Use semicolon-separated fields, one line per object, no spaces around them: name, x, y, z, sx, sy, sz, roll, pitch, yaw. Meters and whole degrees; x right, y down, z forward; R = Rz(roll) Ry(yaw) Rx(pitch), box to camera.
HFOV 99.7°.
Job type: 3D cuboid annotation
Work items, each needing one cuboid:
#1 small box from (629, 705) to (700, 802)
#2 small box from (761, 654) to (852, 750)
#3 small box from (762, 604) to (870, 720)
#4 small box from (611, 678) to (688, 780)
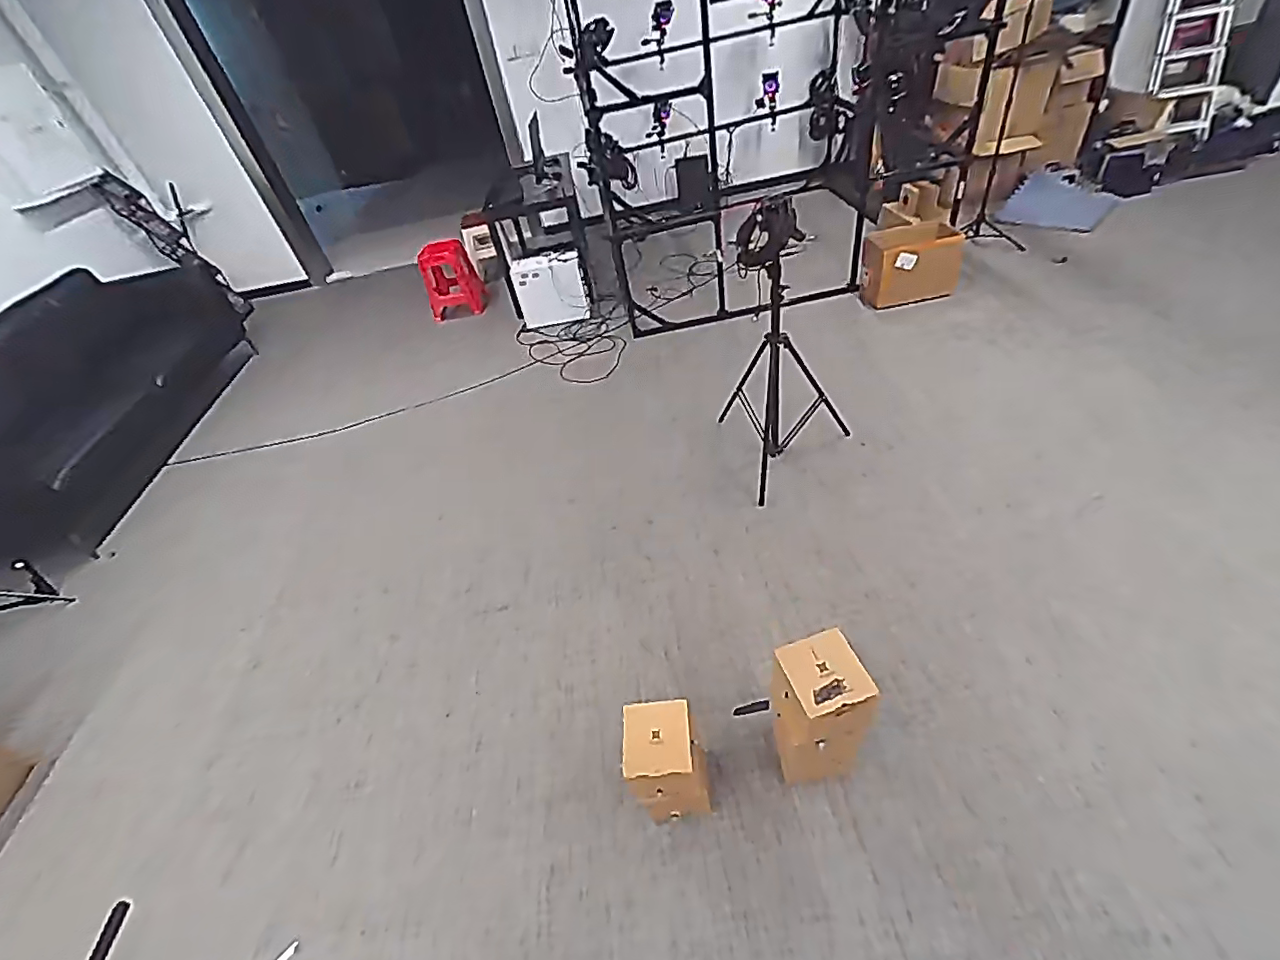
small box;0.062;0.731;1.443;0.168;0.176;0.179;-11;43;5
small box;0.400;0.532;1.334;0.168;0.176;0.179;-12;42;0
small box;0.388;0.416;1.217;0.168;0.176;0.179;-17;44;-6
small box;0.025;0.616;1.338;0.168;0.176;0.179;-9;44;6
